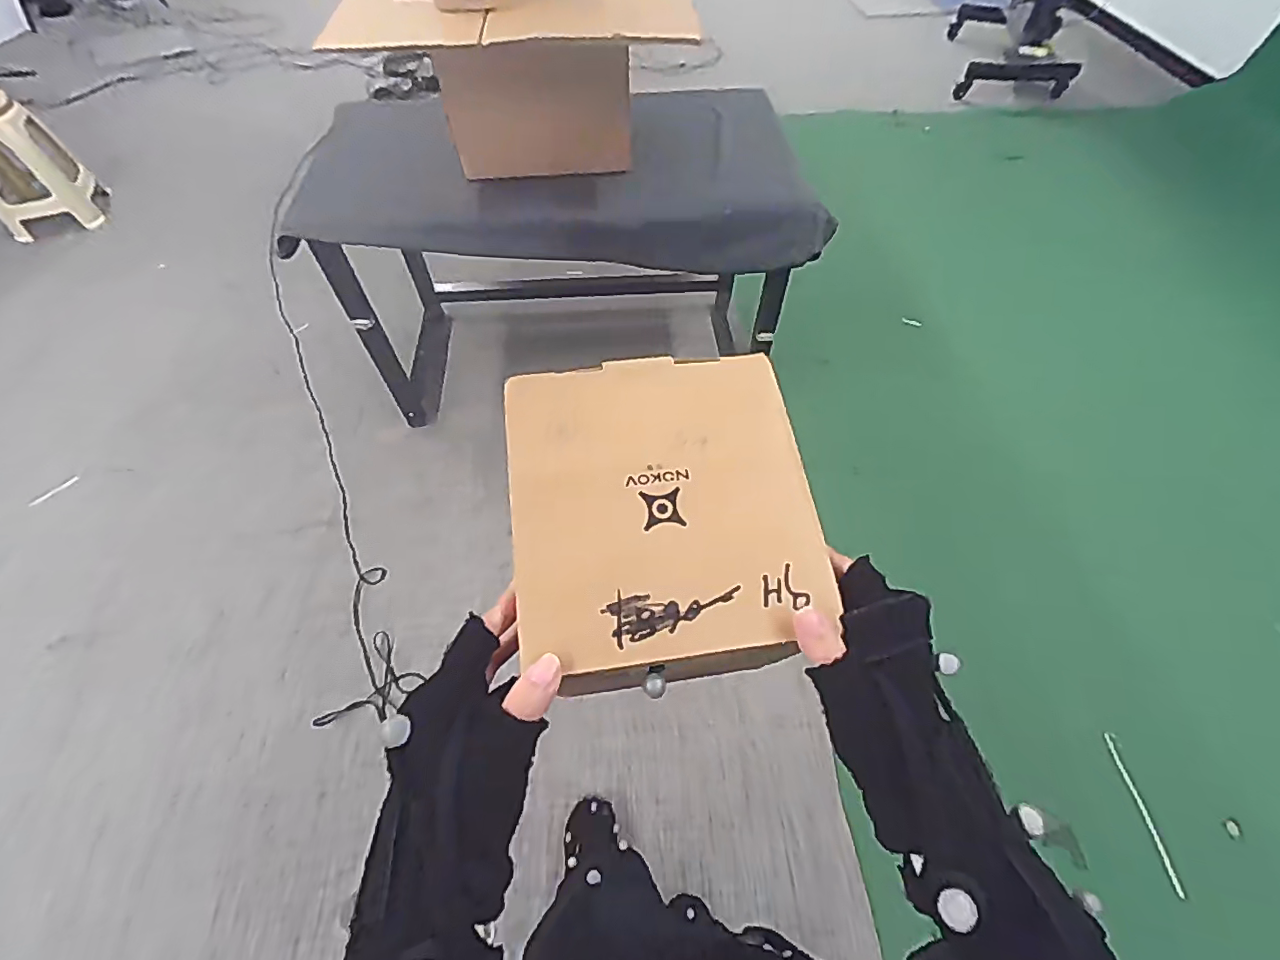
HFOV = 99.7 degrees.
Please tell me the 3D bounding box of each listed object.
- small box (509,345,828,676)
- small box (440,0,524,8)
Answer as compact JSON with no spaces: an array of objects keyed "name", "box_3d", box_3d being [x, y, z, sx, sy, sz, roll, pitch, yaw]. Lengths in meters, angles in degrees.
[{"name":"small box","box_3d":[0.004,0.030,0.384,0.168,0.176,0.179,-7,66,-5]},{"name":"small box","box_3d":[-0.307,-1.016,1.007,0.168,0.176,0.179,-4,59,0]}]
